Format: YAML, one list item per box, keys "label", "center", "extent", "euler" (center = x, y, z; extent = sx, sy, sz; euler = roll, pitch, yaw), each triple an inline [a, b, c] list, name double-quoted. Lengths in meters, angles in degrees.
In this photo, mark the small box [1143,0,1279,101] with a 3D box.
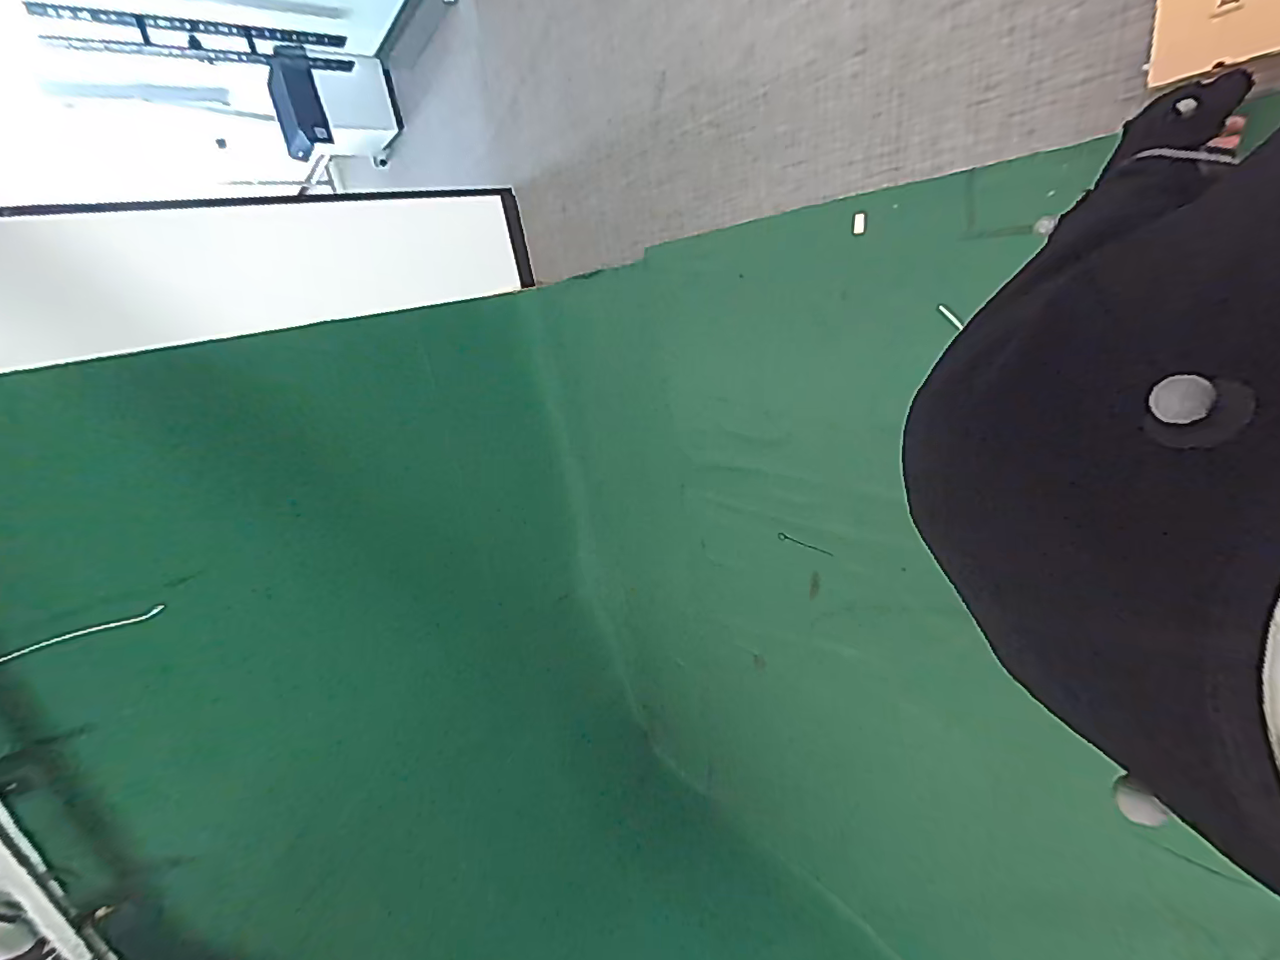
- label: "small box"
  center: [0.933, -0.731, 0.853]
  extent: [0.168, 0.176, 0.179]
  euler: [13, 120, 50]
